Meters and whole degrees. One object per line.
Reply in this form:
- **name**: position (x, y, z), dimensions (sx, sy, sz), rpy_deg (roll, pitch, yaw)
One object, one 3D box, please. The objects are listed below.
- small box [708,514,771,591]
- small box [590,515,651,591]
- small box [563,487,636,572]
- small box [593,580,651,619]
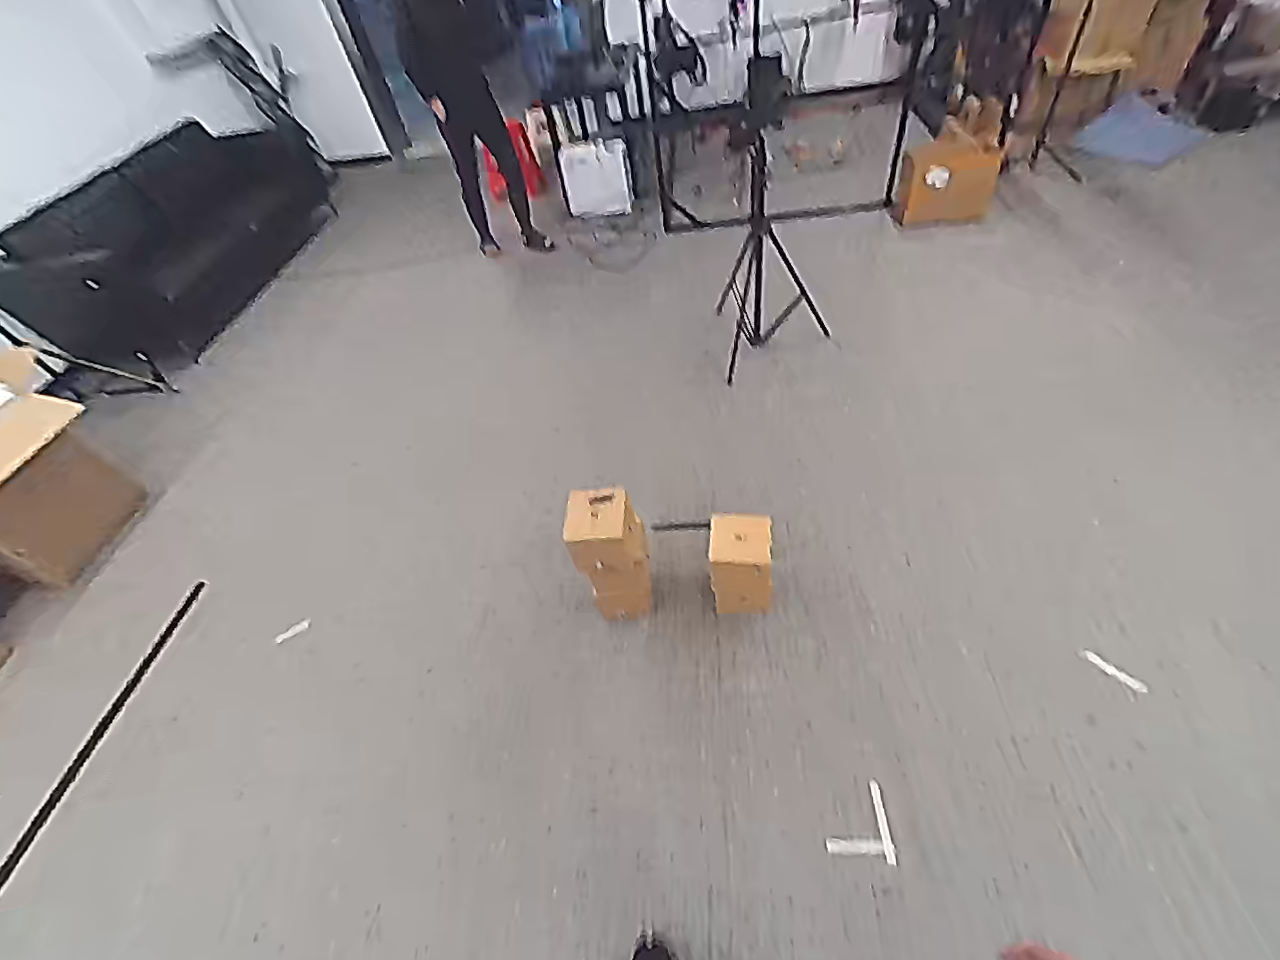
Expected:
- **small box**: position (0.301, 0.219, 1.617), dimensions (0.179, 0.176, 0.168), rpy_deg (1, 50, 12)
- **small box**: position (-0.067, 0.231, 1.678), dimensions (0.179, 0.176, 0.168), rpy_deg (-7, 48, 6)
- **small box**: position (-0.108, 0.143, 1.543), dimensions (0.168, 0.176, 0.179), rpy_deg (-5, 49, 9)
- **small box**: position (-0.056, 0.342, 1.799), dimensions (0.168, 0.176, 0.179), rpy_deg (-6, 49, 7)
